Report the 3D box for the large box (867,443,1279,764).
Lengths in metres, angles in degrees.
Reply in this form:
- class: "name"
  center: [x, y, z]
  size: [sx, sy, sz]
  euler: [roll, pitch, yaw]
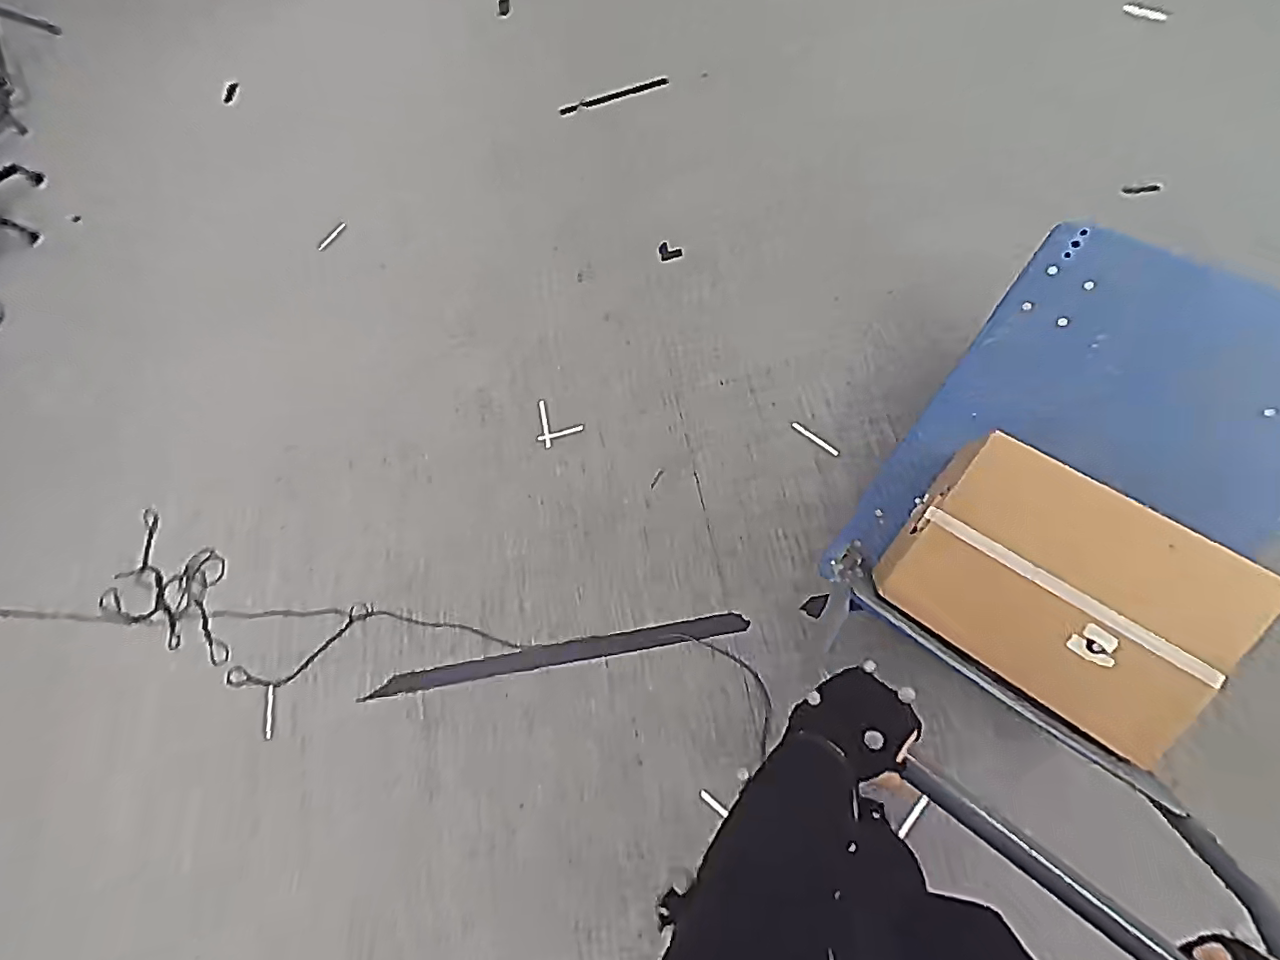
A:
- class: "large box"
  center: [0.667, 0.179, 0.939]
  size: [0.408, 0.320, 0.320]
  euler: [35, 99, 19]
